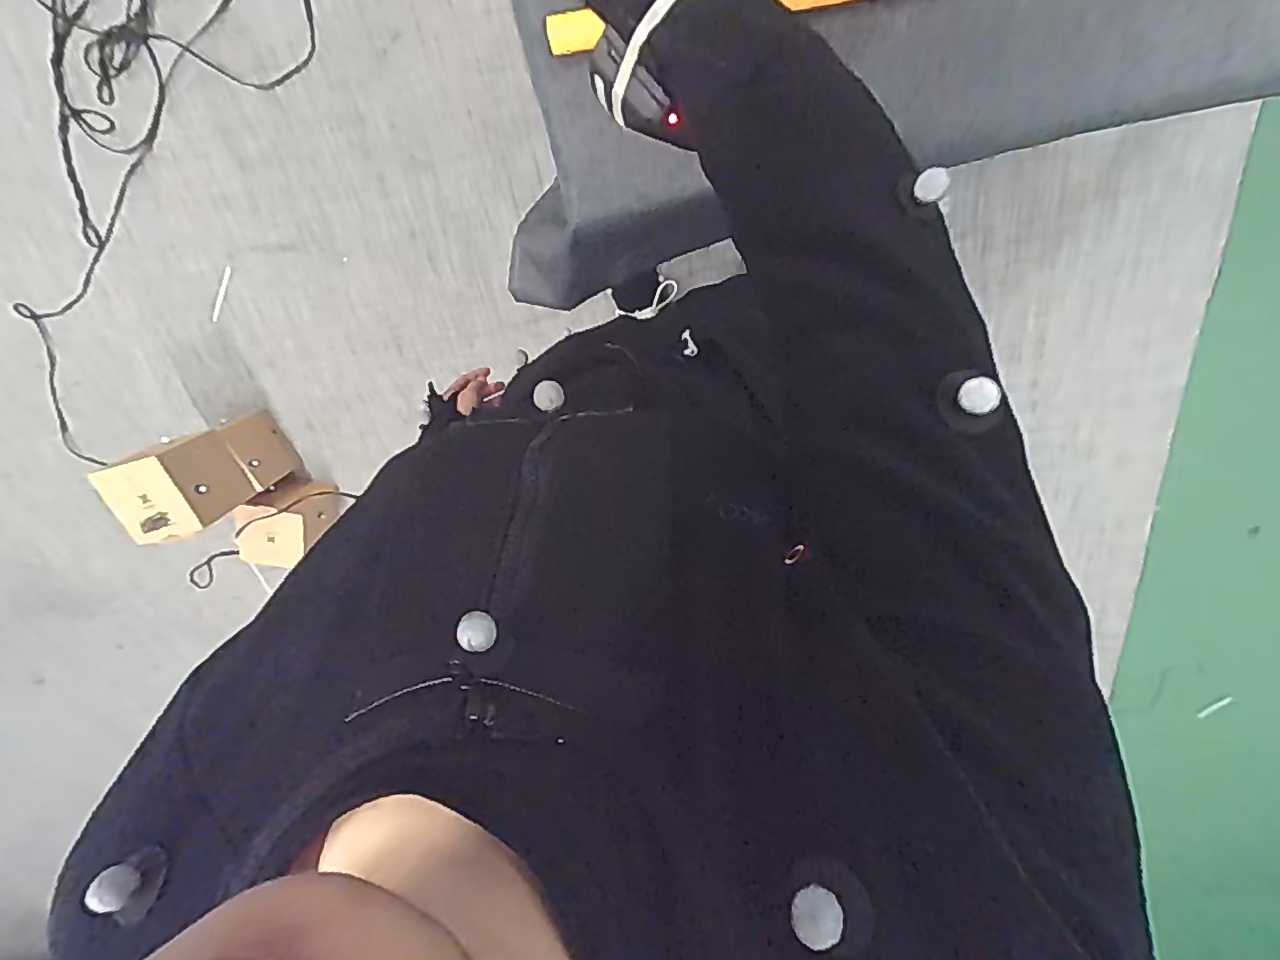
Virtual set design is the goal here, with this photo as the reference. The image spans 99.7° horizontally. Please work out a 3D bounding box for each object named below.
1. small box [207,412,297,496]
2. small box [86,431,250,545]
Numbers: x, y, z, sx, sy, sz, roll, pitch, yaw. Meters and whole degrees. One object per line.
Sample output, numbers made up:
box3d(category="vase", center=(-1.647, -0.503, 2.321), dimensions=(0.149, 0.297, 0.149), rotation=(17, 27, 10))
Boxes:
box3d(category="small box", center=(-1.004, -0.050, 1.335), dimensions=(0.179, 0.176, 0.168), rotation=(-18, 113, 9))
box3d(category="small box", center=(-1.014, 0.013, 1.183), dimensions=(0.168, 0.176, 0.179), rotation=(-13, 114, 7))
